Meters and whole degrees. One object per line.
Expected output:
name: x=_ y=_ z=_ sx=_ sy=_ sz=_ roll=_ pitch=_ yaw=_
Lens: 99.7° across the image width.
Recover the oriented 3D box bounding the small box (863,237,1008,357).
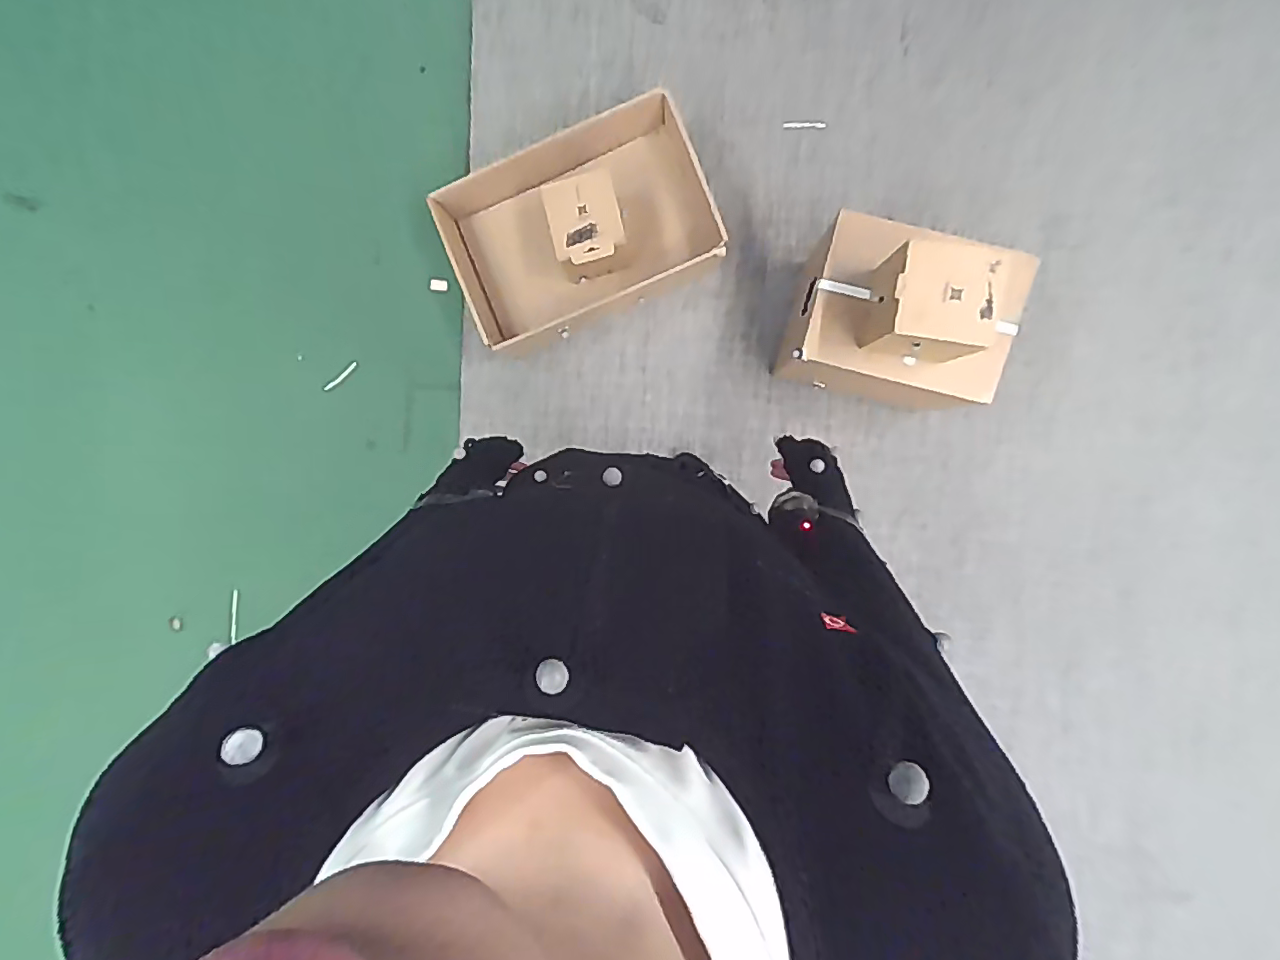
small box: x=0.540 y=-0.333 z=1.015 sx=0.179 sy=0.176 sz=0.168 roll=9 pitch=95 yaw=4

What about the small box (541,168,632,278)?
small box: x=-0.121 y=-0.608 z=1.309 sx=0.168 sy=0.176 sz=0.179 roll=-14 pitch=91 yaw=5
